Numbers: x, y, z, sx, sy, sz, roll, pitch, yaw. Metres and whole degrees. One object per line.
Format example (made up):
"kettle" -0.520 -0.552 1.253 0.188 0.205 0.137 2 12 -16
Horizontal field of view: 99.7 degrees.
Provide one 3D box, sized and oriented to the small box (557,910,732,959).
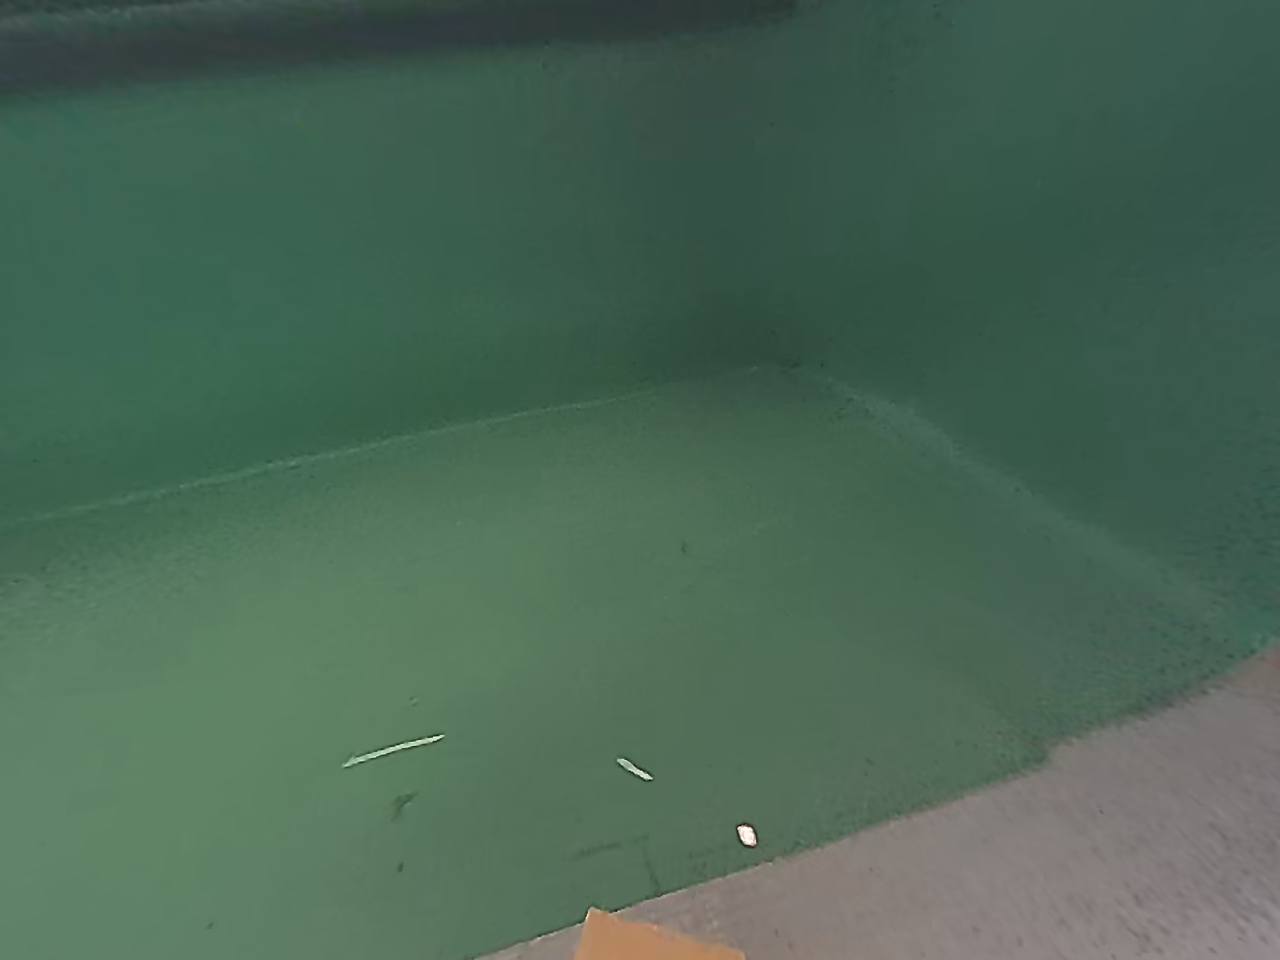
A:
"small box" -0.010 0.531 0.462 0.168 0.176 0.179 8 -5 8
